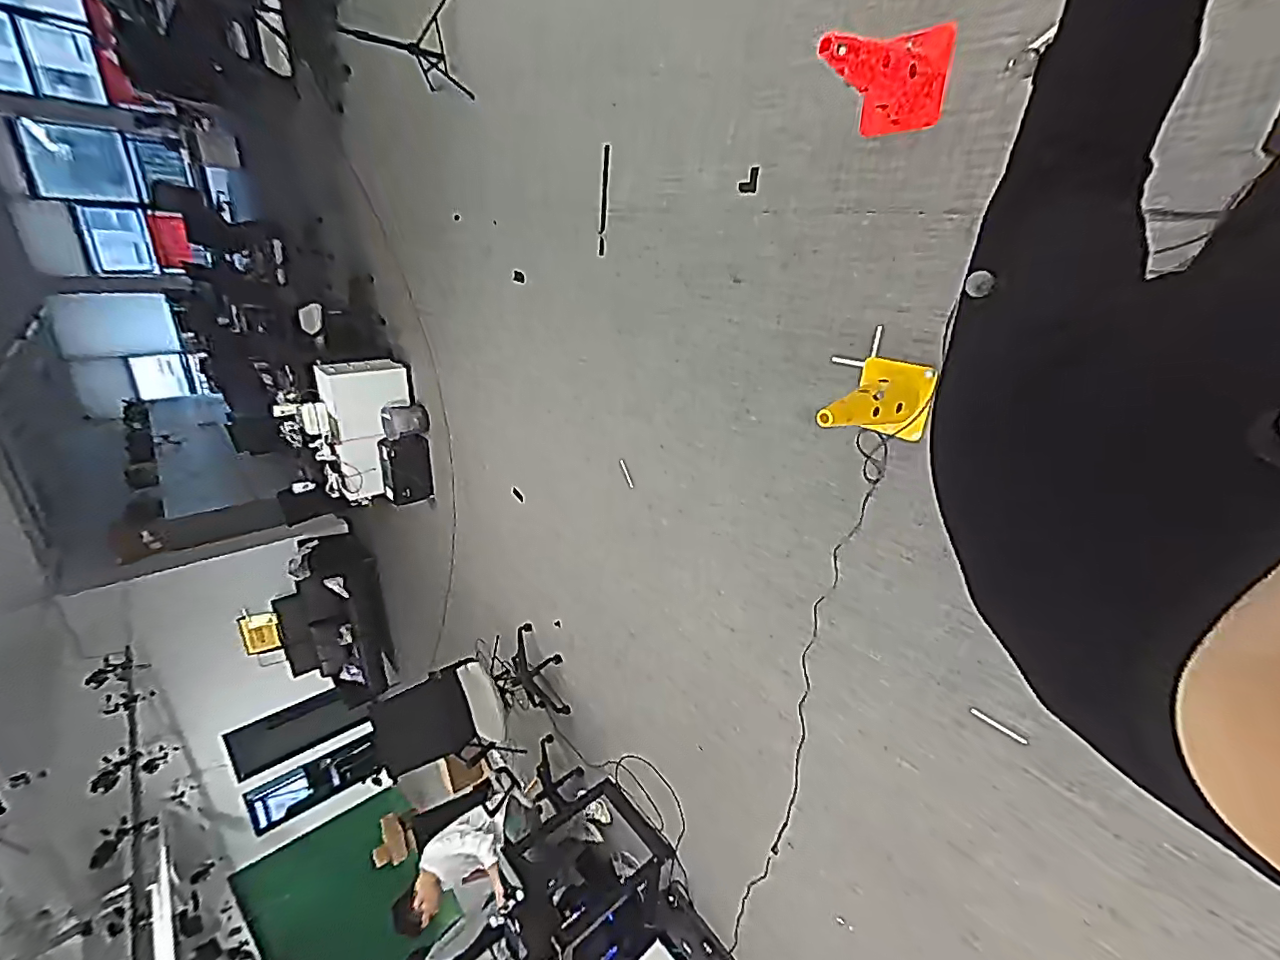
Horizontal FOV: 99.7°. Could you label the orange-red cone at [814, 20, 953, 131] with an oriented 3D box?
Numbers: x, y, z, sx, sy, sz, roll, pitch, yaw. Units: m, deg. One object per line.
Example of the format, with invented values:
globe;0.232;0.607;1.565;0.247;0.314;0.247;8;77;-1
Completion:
orange-red cone;0.497;-0.912;1.183;0.198;0.360;0.199;26;124;44
